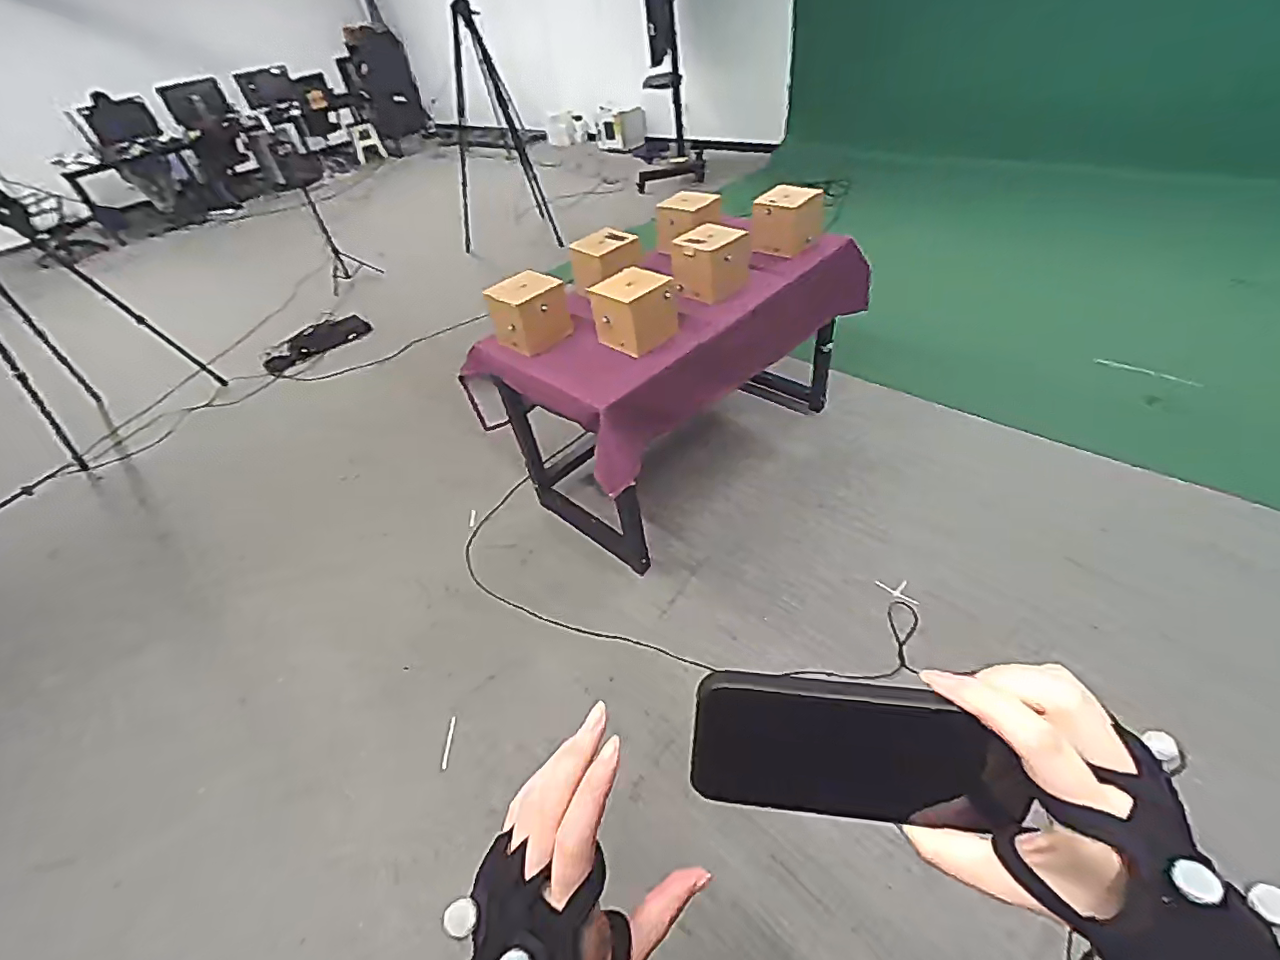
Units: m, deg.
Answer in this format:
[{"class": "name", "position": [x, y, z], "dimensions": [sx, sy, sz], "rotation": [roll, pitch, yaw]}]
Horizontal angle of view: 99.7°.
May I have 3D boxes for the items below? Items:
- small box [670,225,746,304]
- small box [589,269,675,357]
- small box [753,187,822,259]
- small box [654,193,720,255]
[{"class": "small box", "position": [0.218, -0.676, 1.698], "dimensions": [0.179, 0.176, 0.168], "rotation": [-36, 49, -26]}, {"class": "small box", "position": [-0.015, -0.472, 1.530], "dimensions": [0.179, 0.176, 0.168], "rotation": [-37, 49, -27]}, {"class": "small box", "position": [0.502, -0.887, 1.863], "dimensions": [0.168, 0.176, 0.179], "rotation": [29, 55, 35]}, {"class": "small box", "position": [0.174, -0.922, 1.964], "dimensions": [0.179, 0.176, 0.168], "rotation": [28, 56, 33]}]
